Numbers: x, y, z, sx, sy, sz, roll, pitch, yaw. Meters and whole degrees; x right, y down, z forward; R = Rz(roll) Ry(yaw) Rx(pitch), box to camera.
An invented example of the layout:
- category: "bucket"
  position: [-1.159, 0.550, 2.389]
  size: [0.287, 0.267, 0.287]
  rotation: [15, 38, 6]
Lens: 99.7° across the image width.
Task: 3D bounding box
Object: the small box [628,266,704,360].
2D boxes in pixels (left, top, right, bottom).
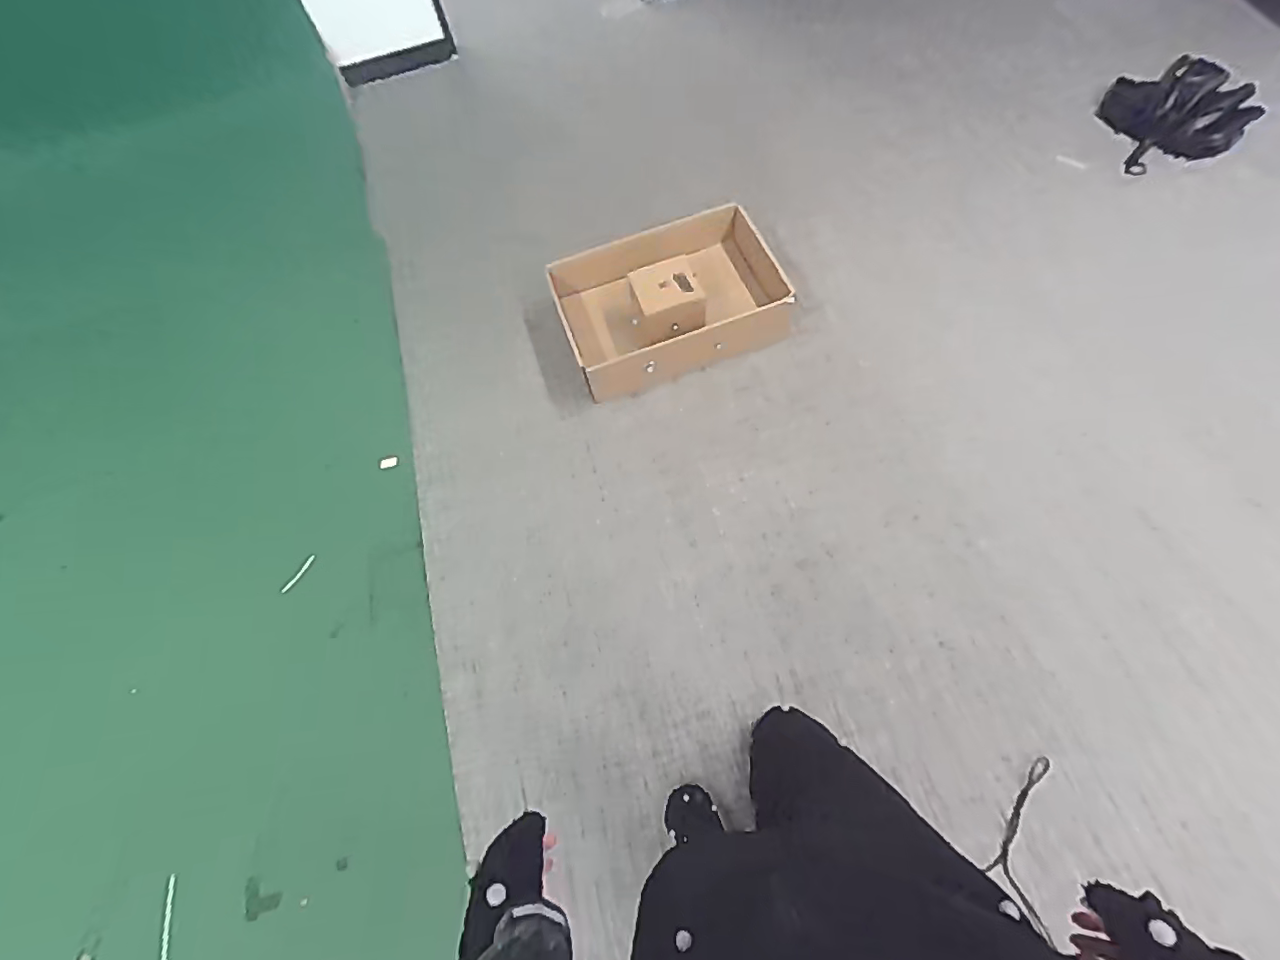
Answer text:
- category: "small box"
  position: [0.076, -0.479, 1.563]
  size: [0.179, 0.176, 0.168]
  rotation: [-18, 65, -2]
